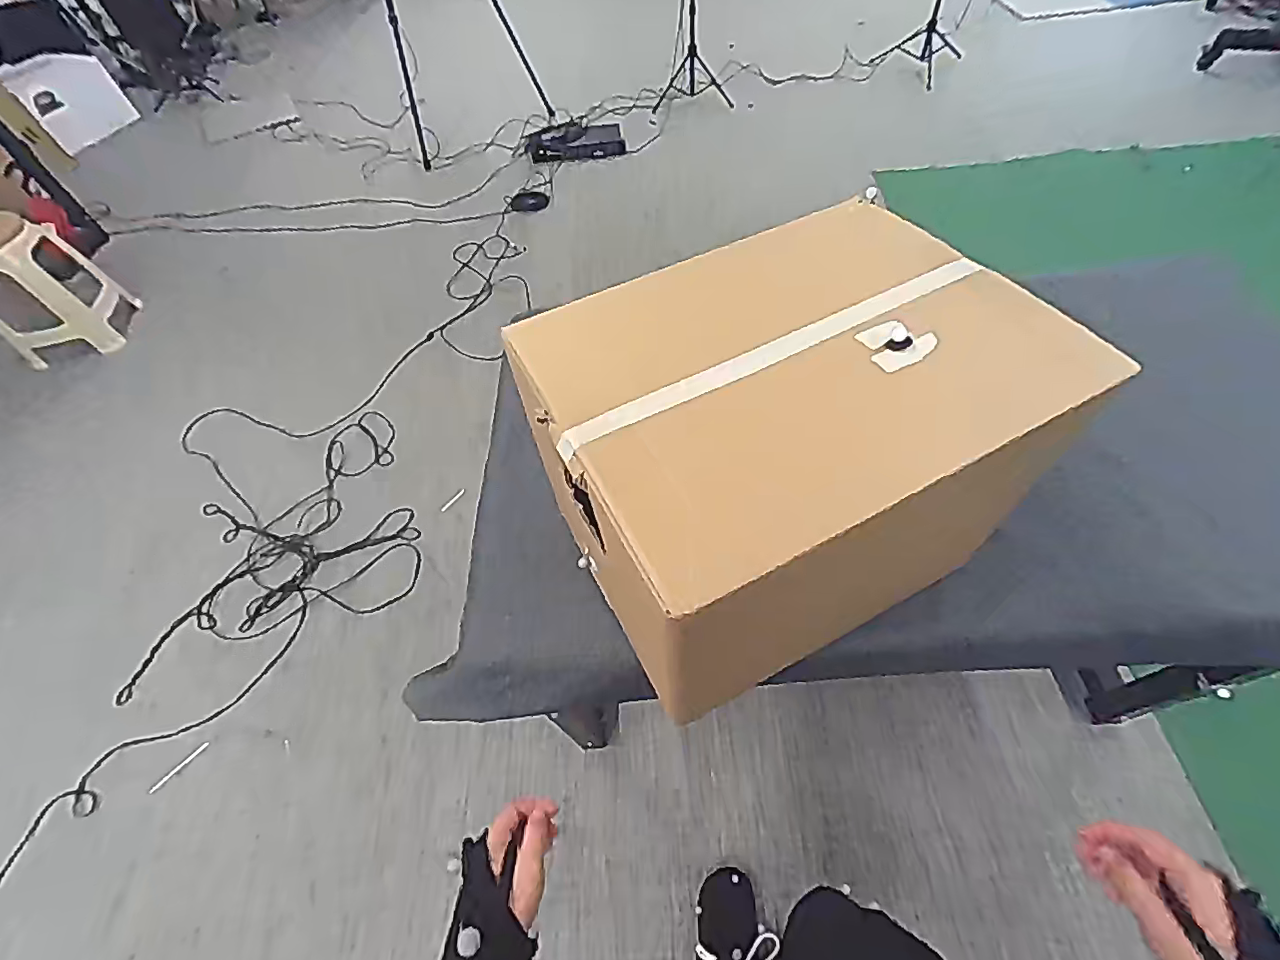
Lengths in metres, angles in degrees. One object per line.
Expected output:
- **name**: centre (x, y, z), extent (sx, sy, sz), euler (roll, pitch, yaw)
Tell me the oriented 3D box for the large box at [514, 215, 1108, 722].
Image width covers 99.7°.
- **large box**: centre (0.134, -0.015, 0.576), extent (0.408, 0.320, 0.320), euler (-24, 57, -14)
